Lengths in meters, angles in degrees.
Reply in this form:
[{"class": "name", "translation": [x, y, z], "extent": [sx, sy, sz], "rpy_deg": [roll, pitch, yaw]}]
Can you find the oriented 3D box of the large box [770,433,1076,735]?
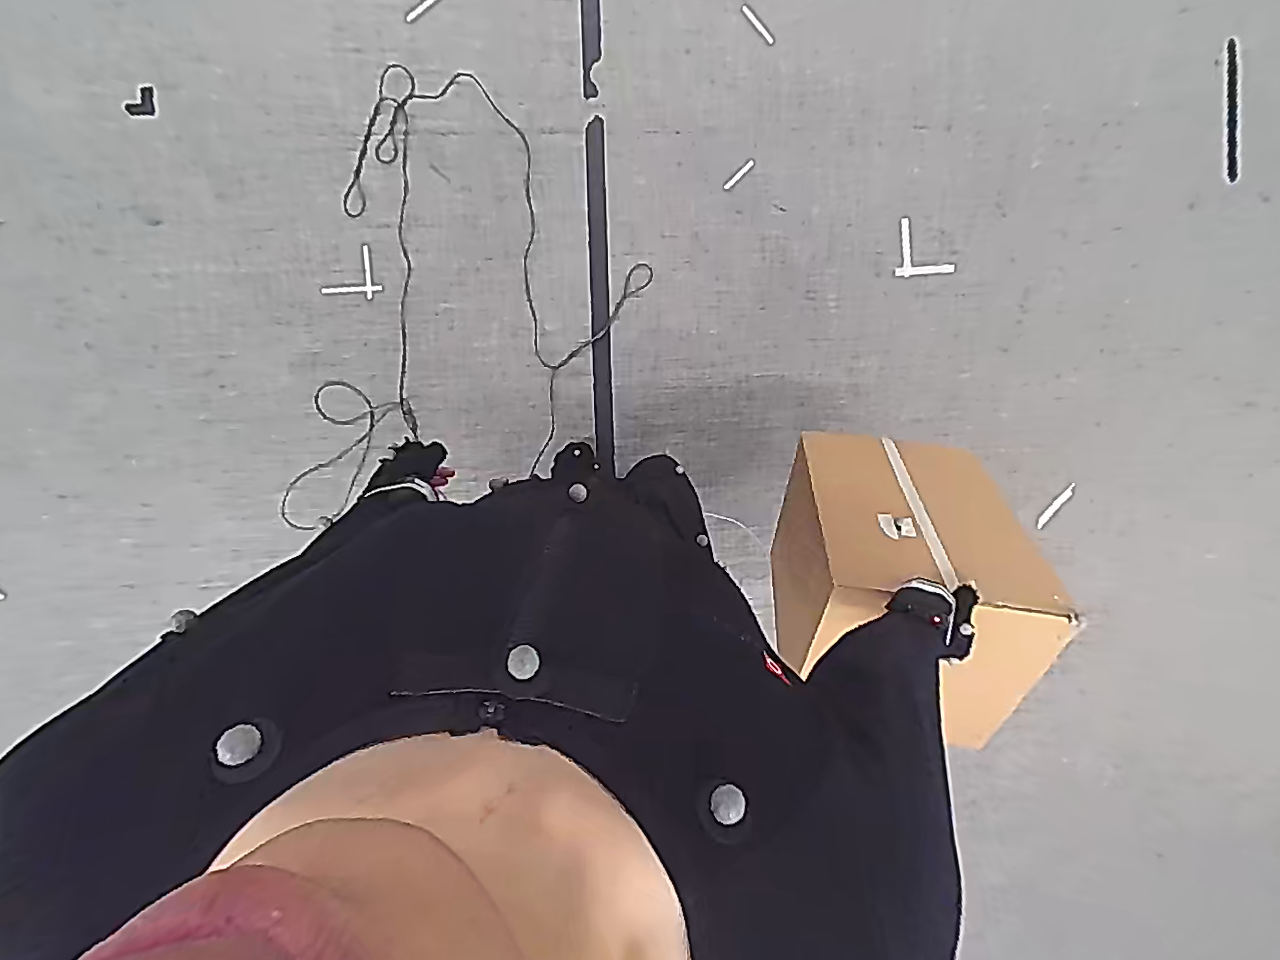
[{"class": "large box", "translation": [0.427, 0.164, 0.953], "extent": [0.320, 0.408, 0.320], "rpy_deg": [6, 127, 4]}]
